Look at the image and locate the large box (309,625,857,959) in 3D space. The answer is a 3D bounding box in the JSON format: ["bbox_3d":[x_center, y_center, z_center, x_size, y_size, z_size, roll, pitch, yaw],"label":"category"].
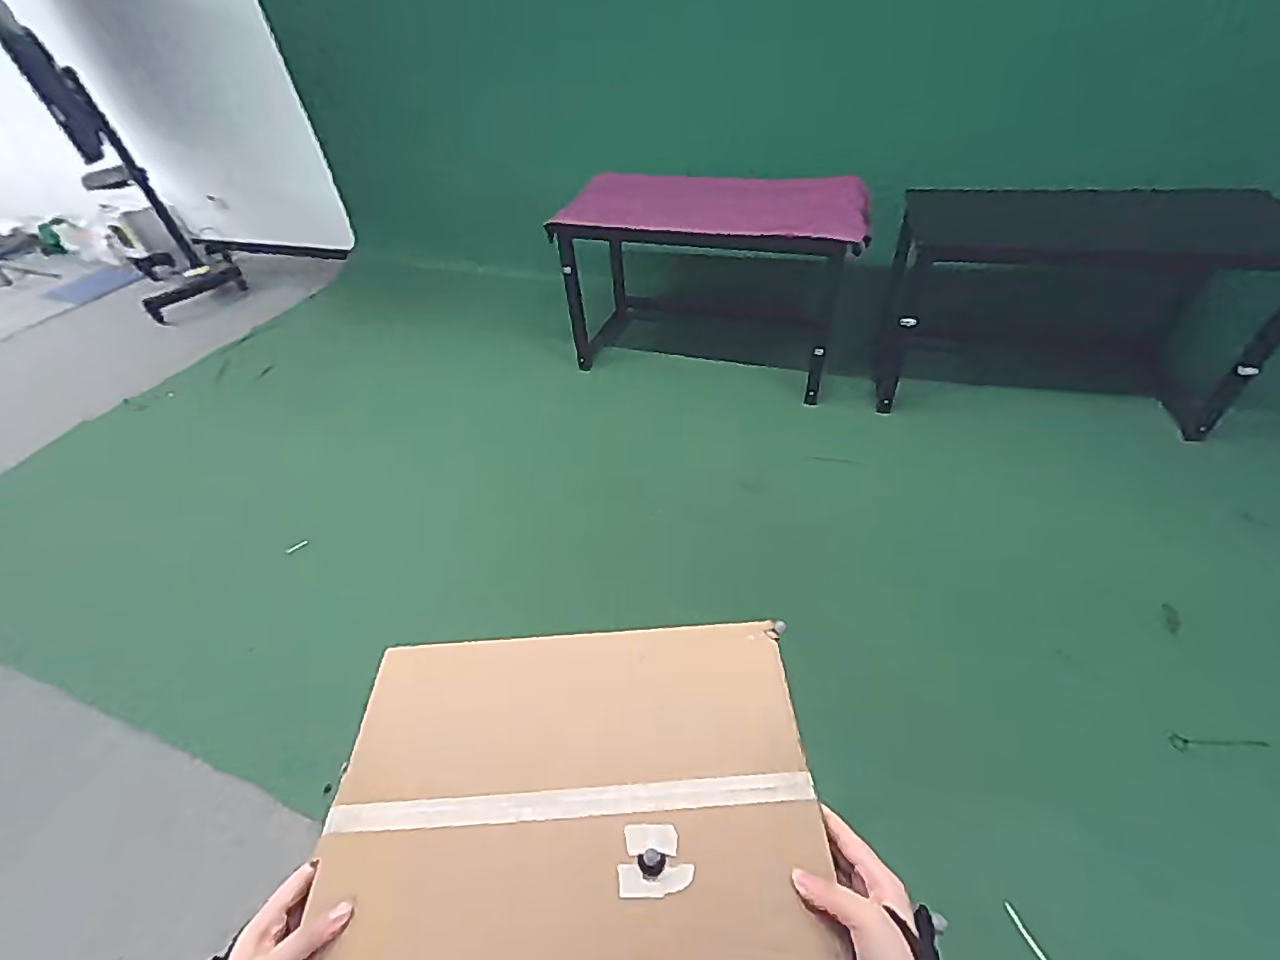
[{"bbox_3d":[-0.046,0.381,0.570,0.408,0.320,0.320,-3,45,0],"label":"large box"}]
